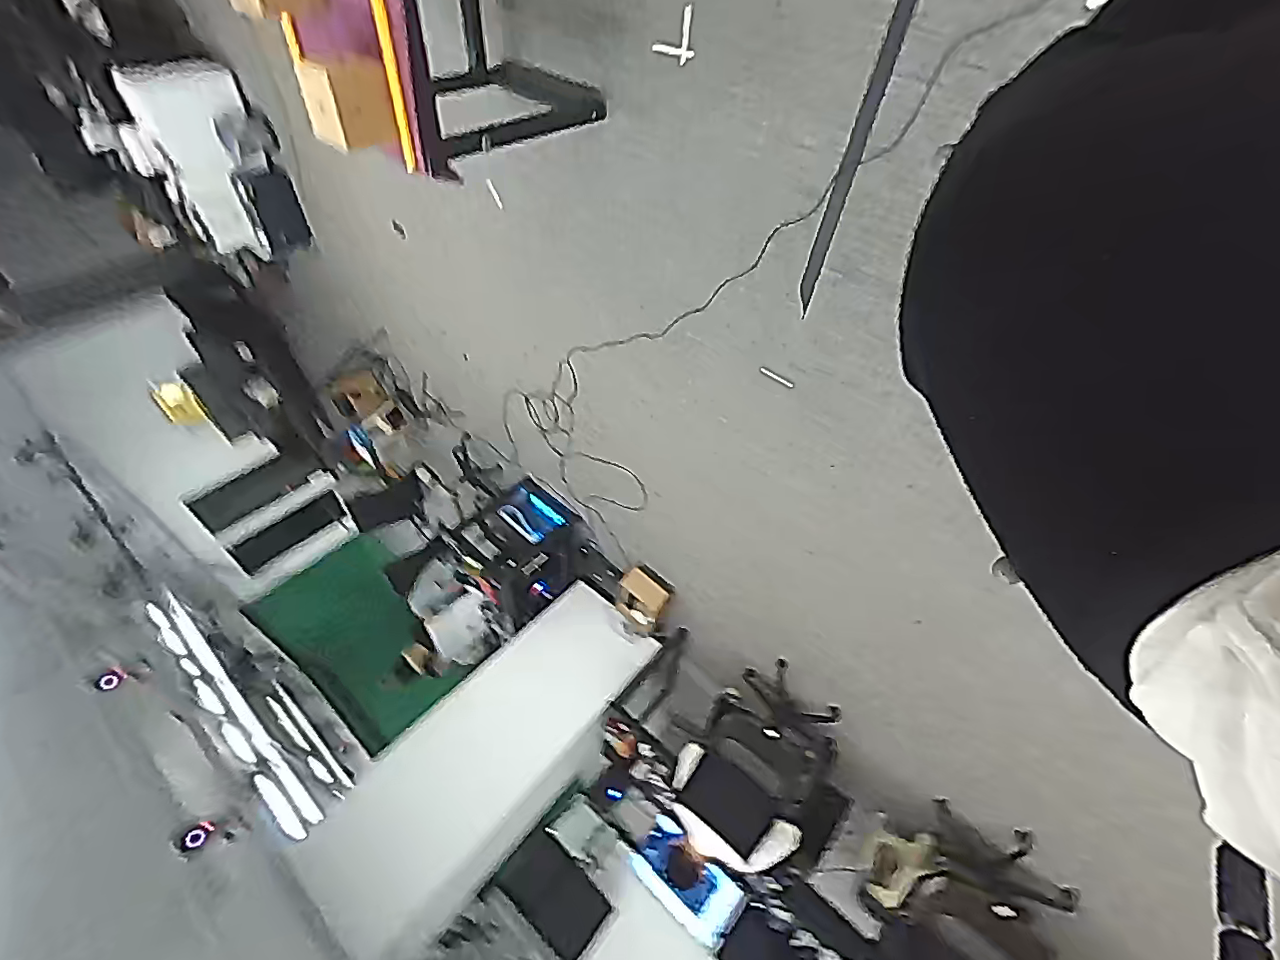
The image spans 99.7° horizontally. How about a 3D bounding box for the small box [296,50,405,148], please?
[{"bbox_3d":[-0.755,-1.011,1.429,0.168,0.176,0.179,35,144,24],"label":"small box"}]
